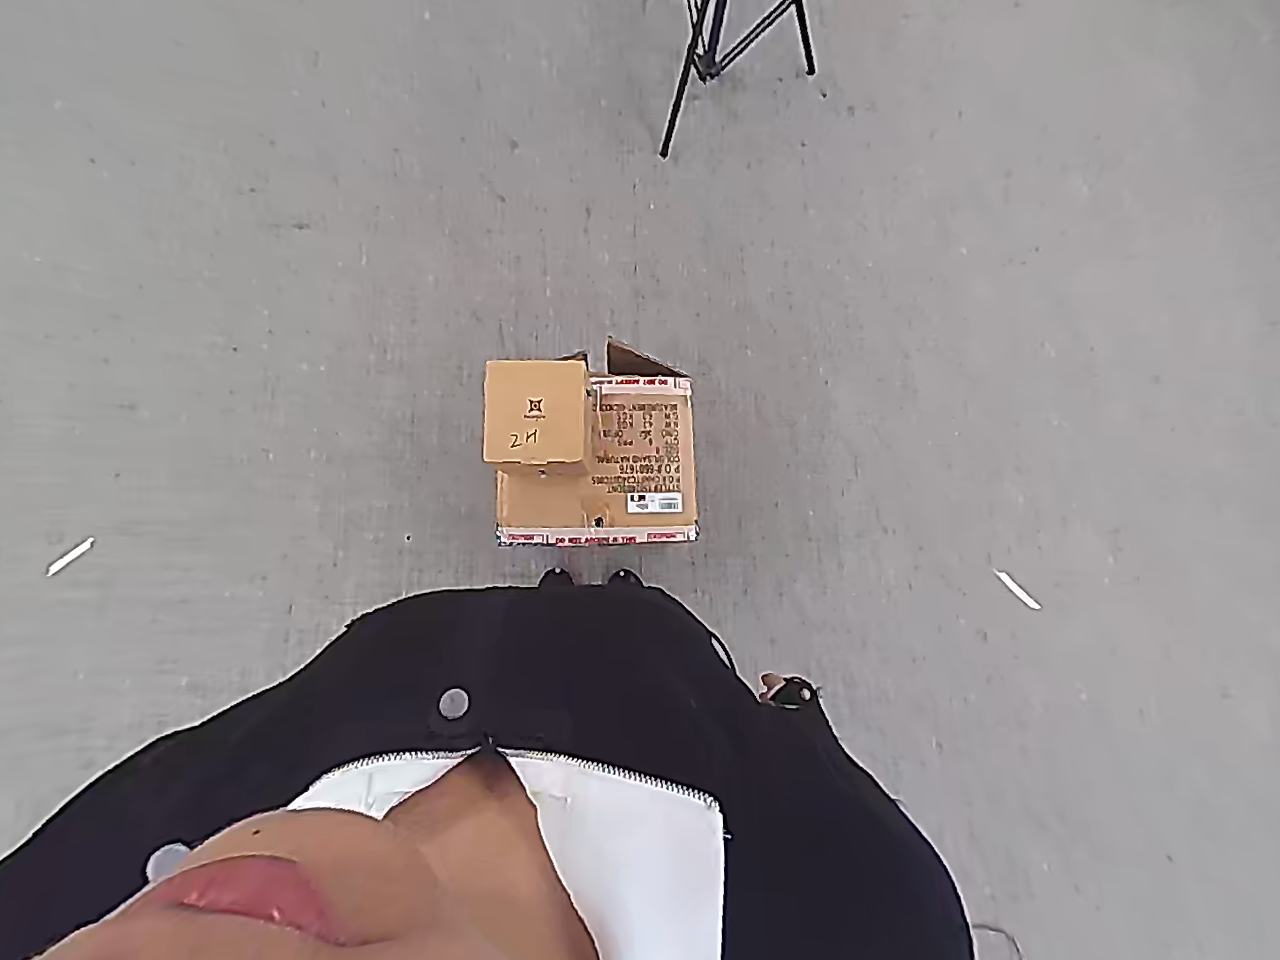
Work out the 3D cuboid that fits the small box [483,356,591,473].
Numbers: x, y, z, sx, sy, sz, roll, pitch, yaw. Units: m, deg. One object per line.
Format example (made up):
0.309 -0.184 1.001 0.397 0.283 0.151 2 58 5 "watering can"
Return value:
-0.178 -0.111 0.976 0.168 0.176 0.179 0 84 -1 "small box"
